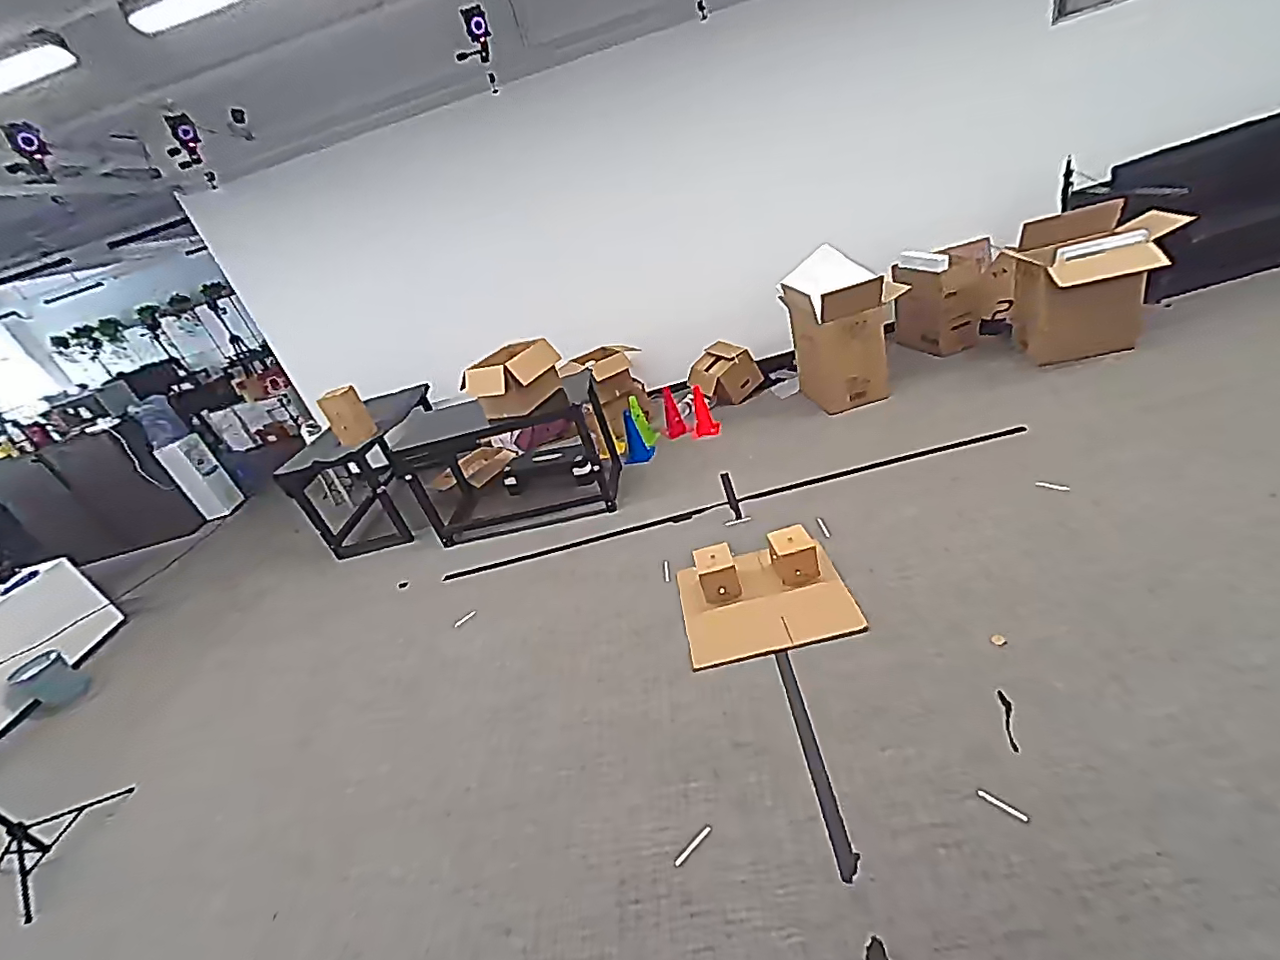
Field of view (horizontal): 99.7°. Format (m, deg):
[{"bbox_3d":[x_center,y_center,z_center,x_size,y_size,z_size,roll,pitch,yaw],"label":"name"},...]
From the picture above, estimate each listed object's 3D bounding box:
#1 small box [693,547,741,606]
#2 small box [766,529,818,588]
[{"bbox_3d":[0.345,0.437,2.436,0.168,0.176,0.179,-16,28,5],"label":"small box"},{"bbox_3d":[0.677,0.352,2.407,0.168,0.176,0.179,-17,28,2],"label":"small box"}]
